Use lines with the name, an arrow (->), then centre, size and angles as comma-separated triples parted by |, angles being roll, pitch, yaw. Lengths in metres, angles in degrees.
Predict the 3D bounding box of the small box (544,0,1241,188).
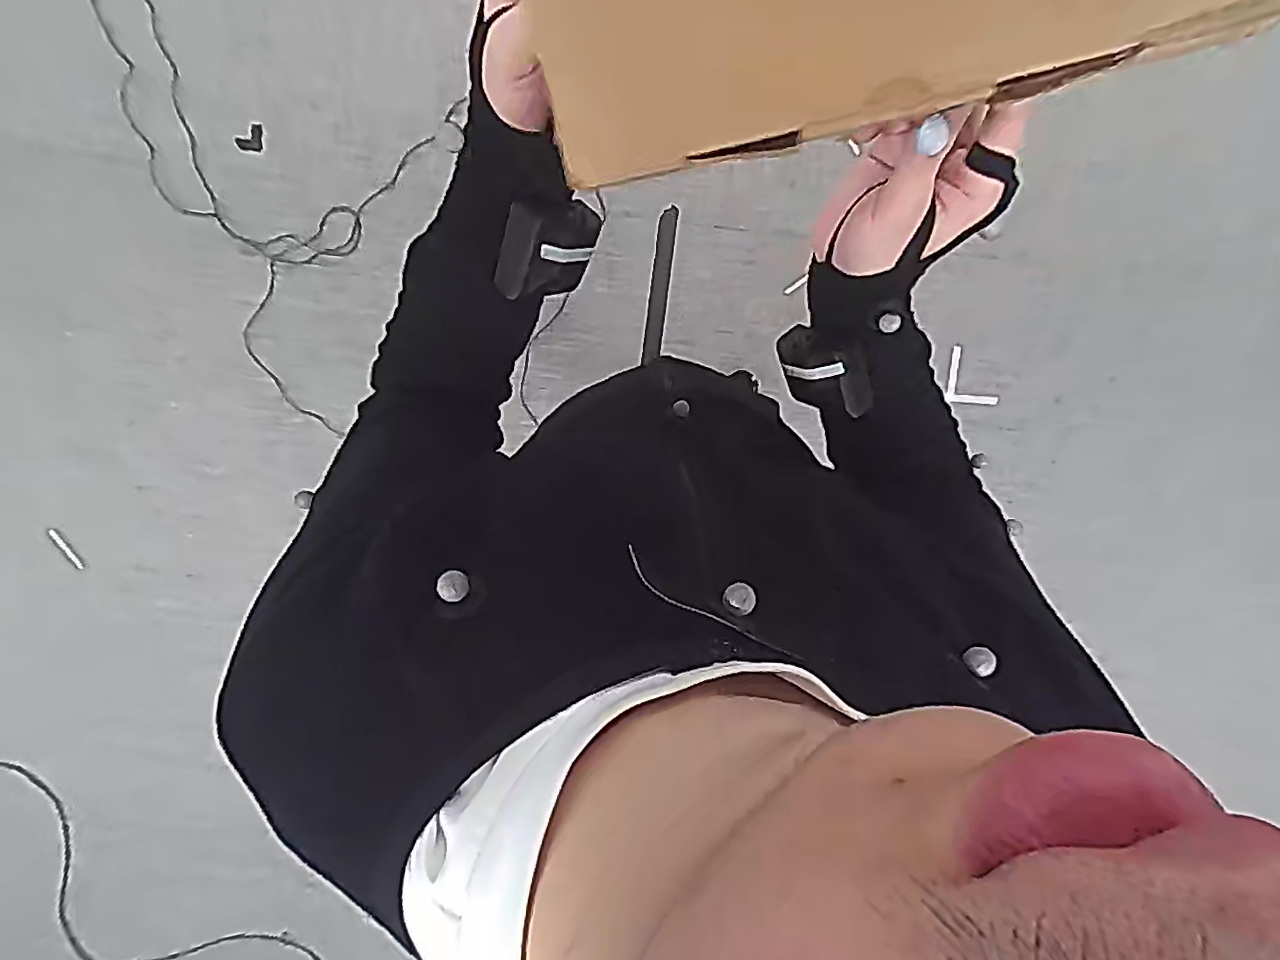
small box -> 0.052, -0.211, 0.169 | 0.168, 0.176, 0.179 | -9, 119, 10
